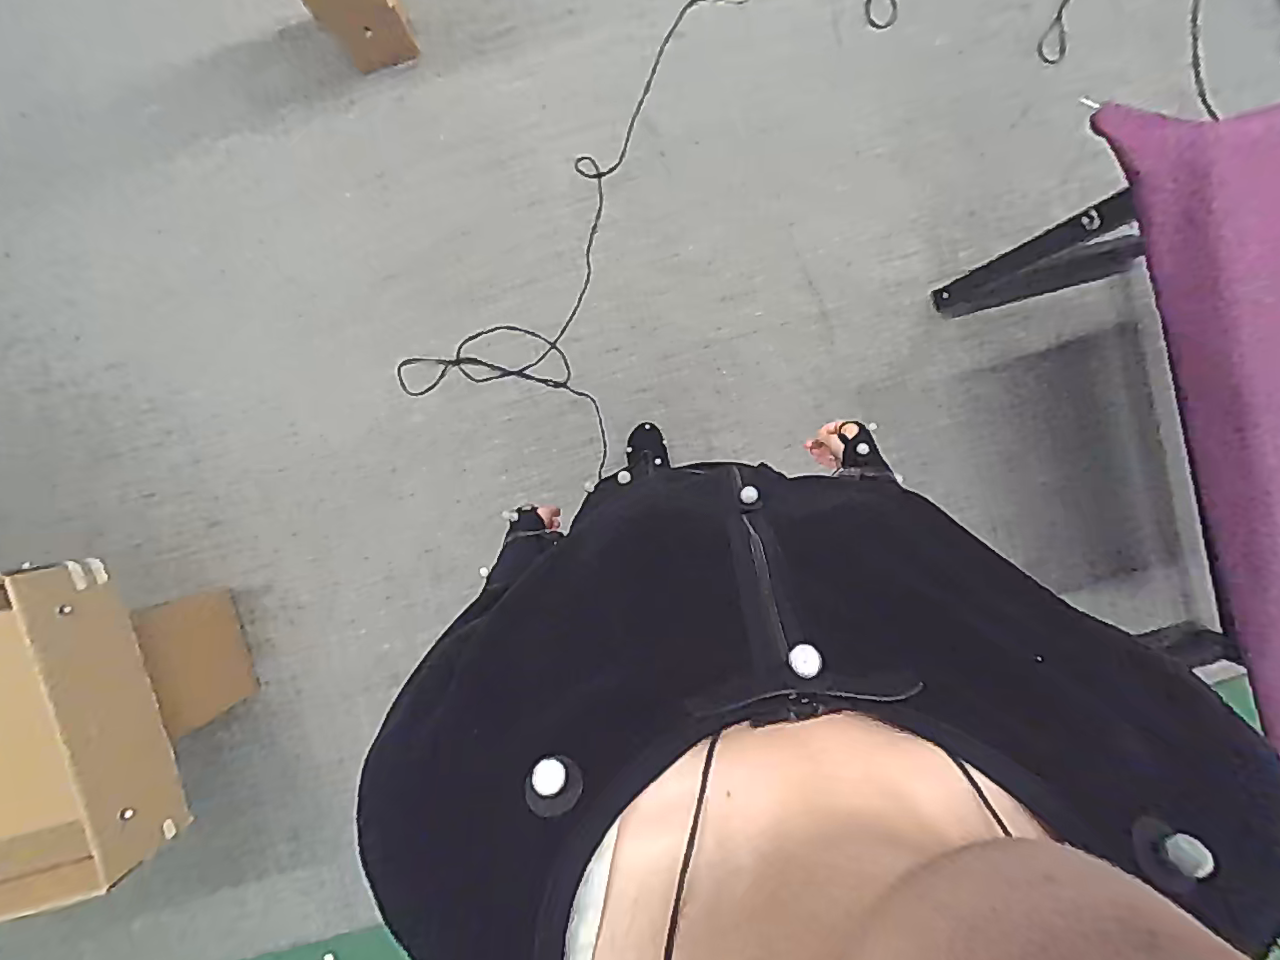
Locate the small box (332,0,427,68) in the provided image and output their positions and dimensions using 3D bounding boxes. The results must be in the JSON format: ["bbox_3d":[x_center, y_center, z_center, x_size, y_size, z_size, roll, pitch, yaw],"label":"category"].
[{"bbox_3d":[-0.673,-1.195,1.367,0.179,0.176,0.168,-17,93,1],"label":"small box"}]

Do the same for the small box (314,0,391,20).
[{"bbox_3d":[-0.683,-1.184,1.203,0.179,0.176,0.168,-16,94,1],"label":"small box"}]
